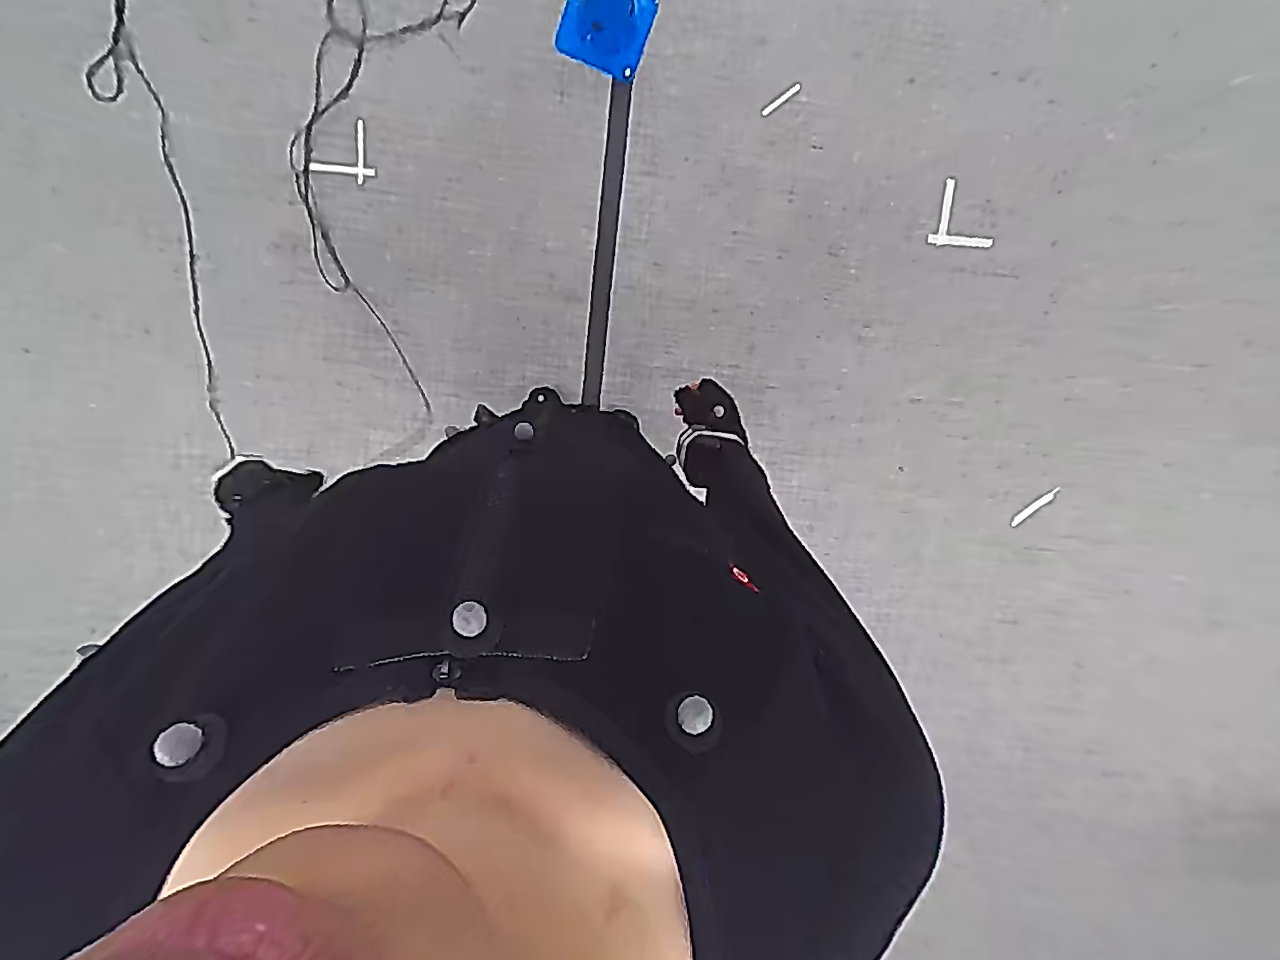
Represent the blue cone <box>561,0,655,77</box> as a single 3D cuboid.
[{"bbox_3d":[-0.064,-1.033,1.097,0.192,0.380,0.193,21,100,-9],"label":"blue cone"}]
